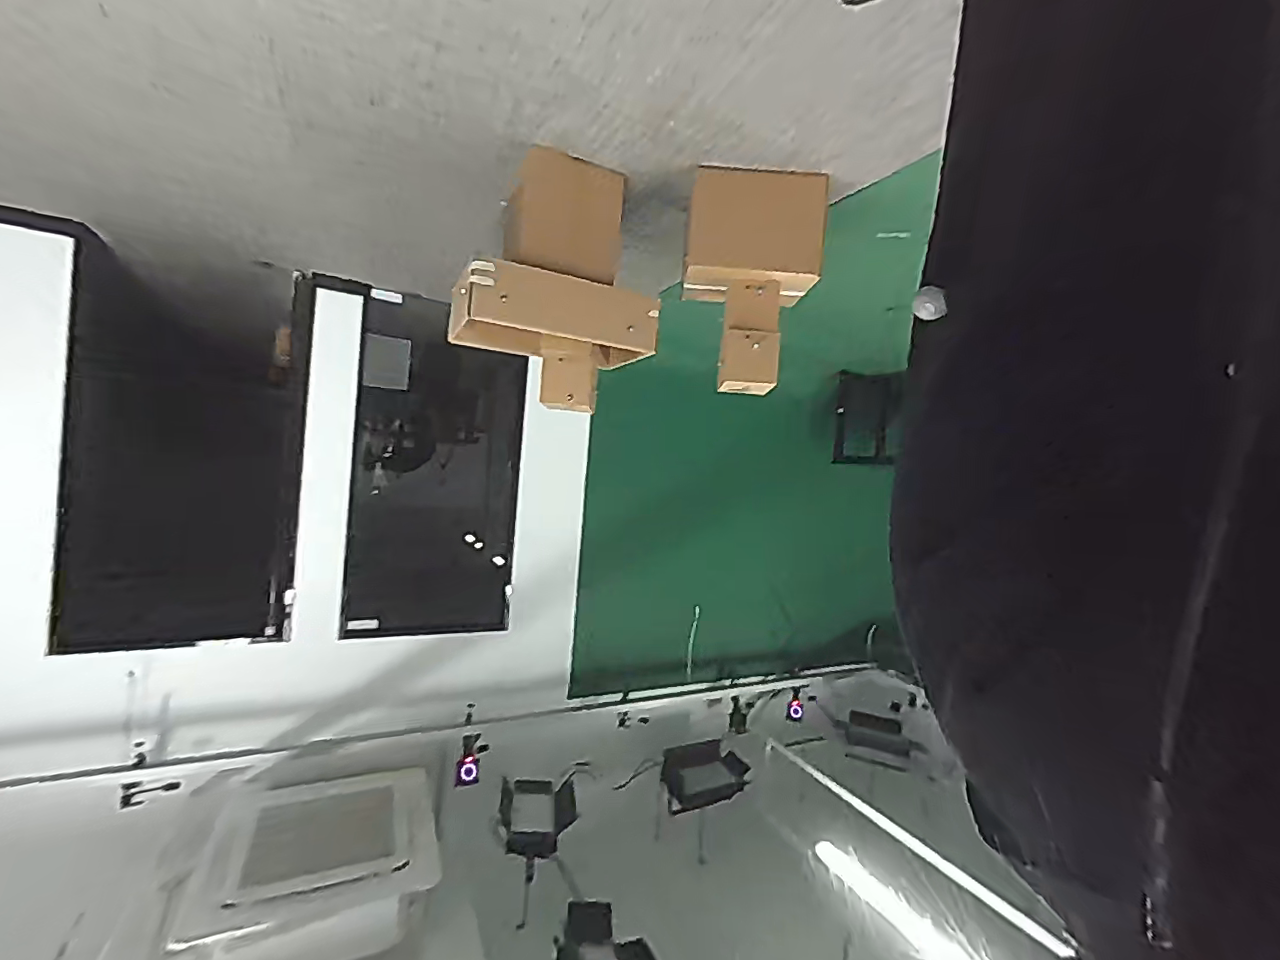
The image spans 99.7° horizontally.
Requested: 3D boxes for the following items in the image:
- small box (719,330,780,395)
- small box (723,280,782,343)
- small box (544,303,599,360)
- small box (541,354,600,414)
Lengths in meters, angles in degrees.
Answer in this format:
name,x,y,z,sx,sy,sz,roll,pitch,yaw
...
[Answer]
name,x,y,z,sx,sy,sz,roll,pitch,yaw
small box,0.357,-0.381,1.771,0.168,0.176,0.179,4,179,0
small box,0.370,-0.544,1.784,0.168,0.176,0.179,4,180,5
small box,-0.230,-0.489,1.832,0.168,0.176,0.179,6,180,-3
small box,-0.231,-0.324,1.841,0.168,0.176,0.179,5,180,2
